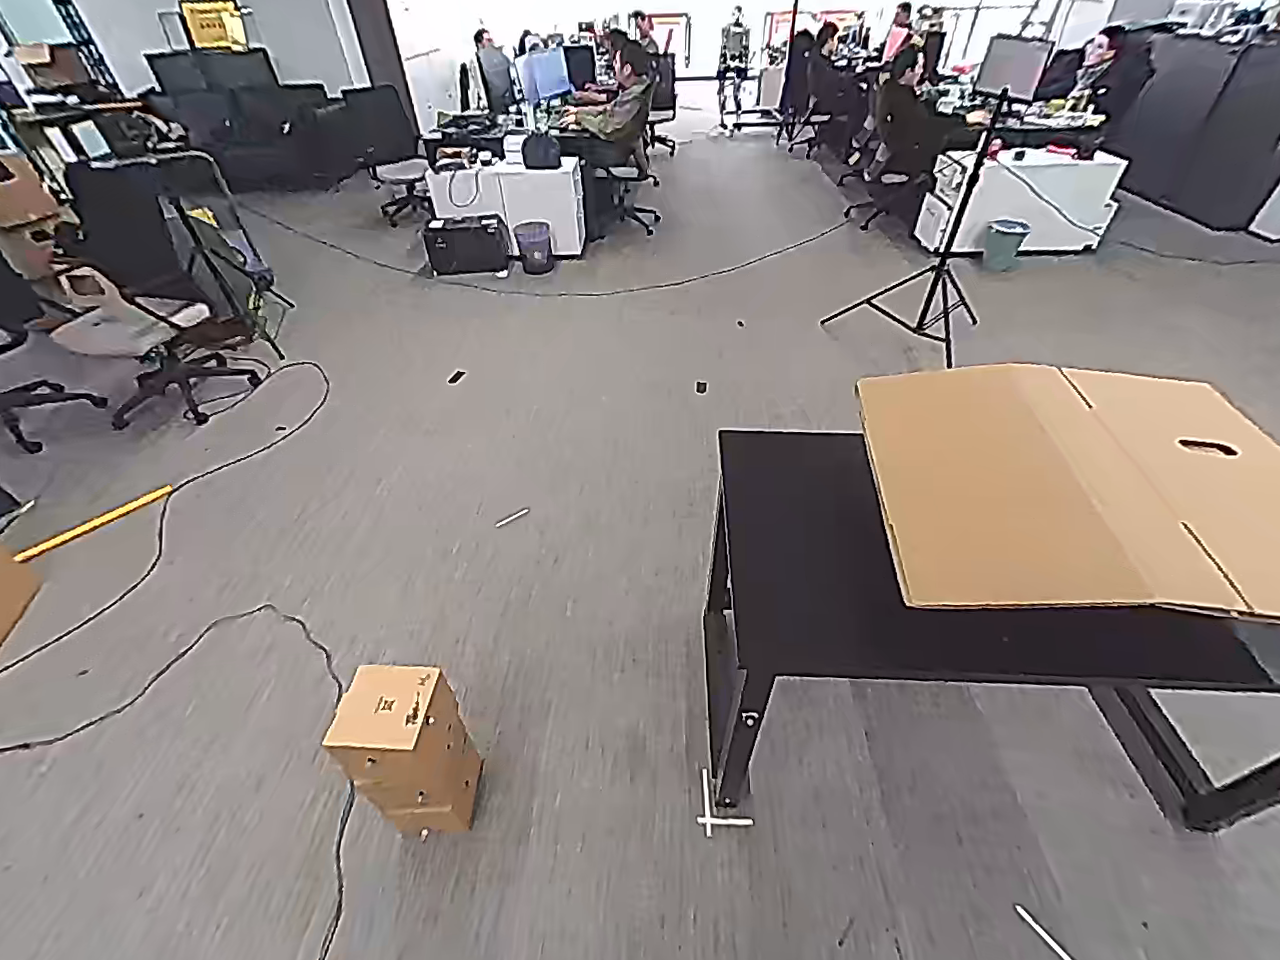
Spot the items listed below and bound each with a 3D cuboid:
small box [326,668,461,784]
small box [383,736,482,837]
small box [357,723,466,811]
[{"bbox_3d":[-0.493,0.507,1.113,0.179,0.176,0.168,1,42,3],"label":"small box"},{"bbox_3d":[-0.498,0.753,1.327,0.168,0.176,0.179,-2,43,0],"label":"small box"},{"bbox_3d":[-0.503,0.628,1.224,0.168,0.176,0.179,-3,41,-3],"label":"small box"}]
